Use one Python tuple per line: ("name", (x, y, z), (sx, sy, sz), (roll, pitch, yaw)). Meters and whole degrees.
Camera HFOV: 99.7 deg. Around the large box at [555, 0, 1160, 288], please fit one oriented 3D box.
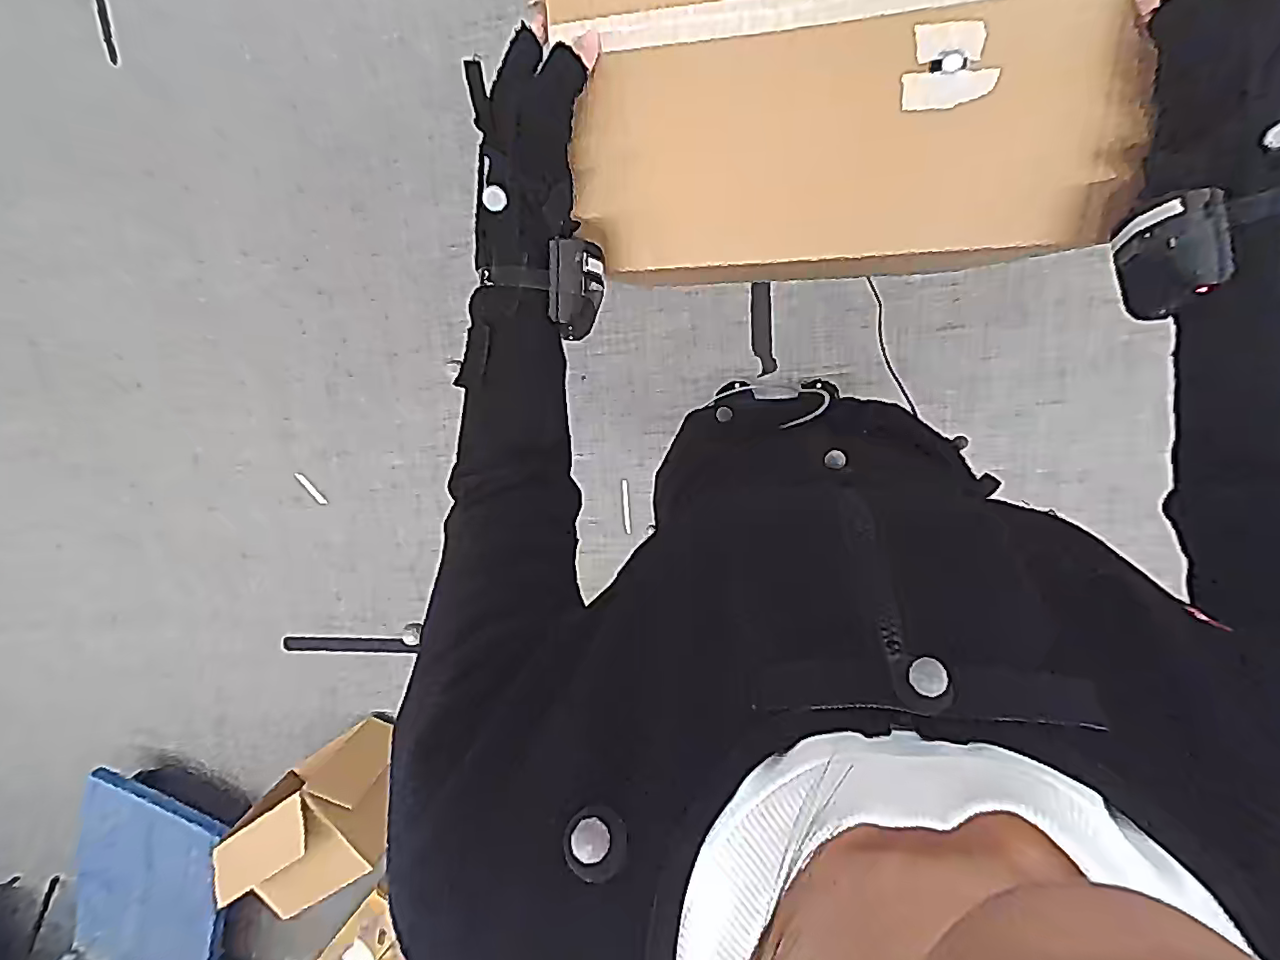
("large box", (0.155, -0.366, 0.511), (0.408, 0.320, 0.320), (-1, 107, 9))
